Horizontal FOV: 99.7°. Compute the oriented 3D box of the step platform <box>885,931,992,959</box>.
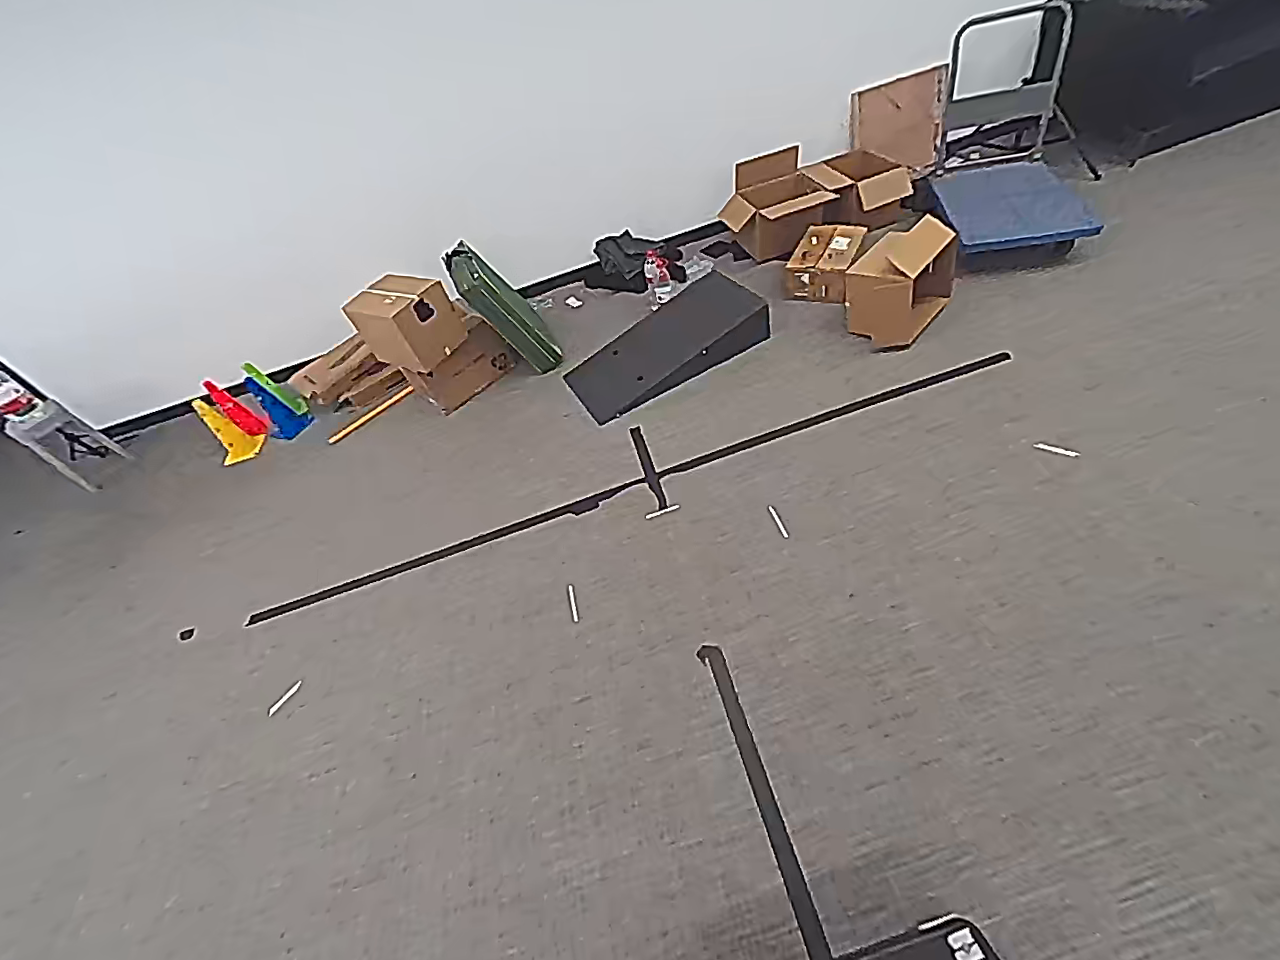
[{"bbox_3d":[0.396,1.124,1.006,0.684,0.204,0.286,-19,47,-2],"label":"step platform"}]
